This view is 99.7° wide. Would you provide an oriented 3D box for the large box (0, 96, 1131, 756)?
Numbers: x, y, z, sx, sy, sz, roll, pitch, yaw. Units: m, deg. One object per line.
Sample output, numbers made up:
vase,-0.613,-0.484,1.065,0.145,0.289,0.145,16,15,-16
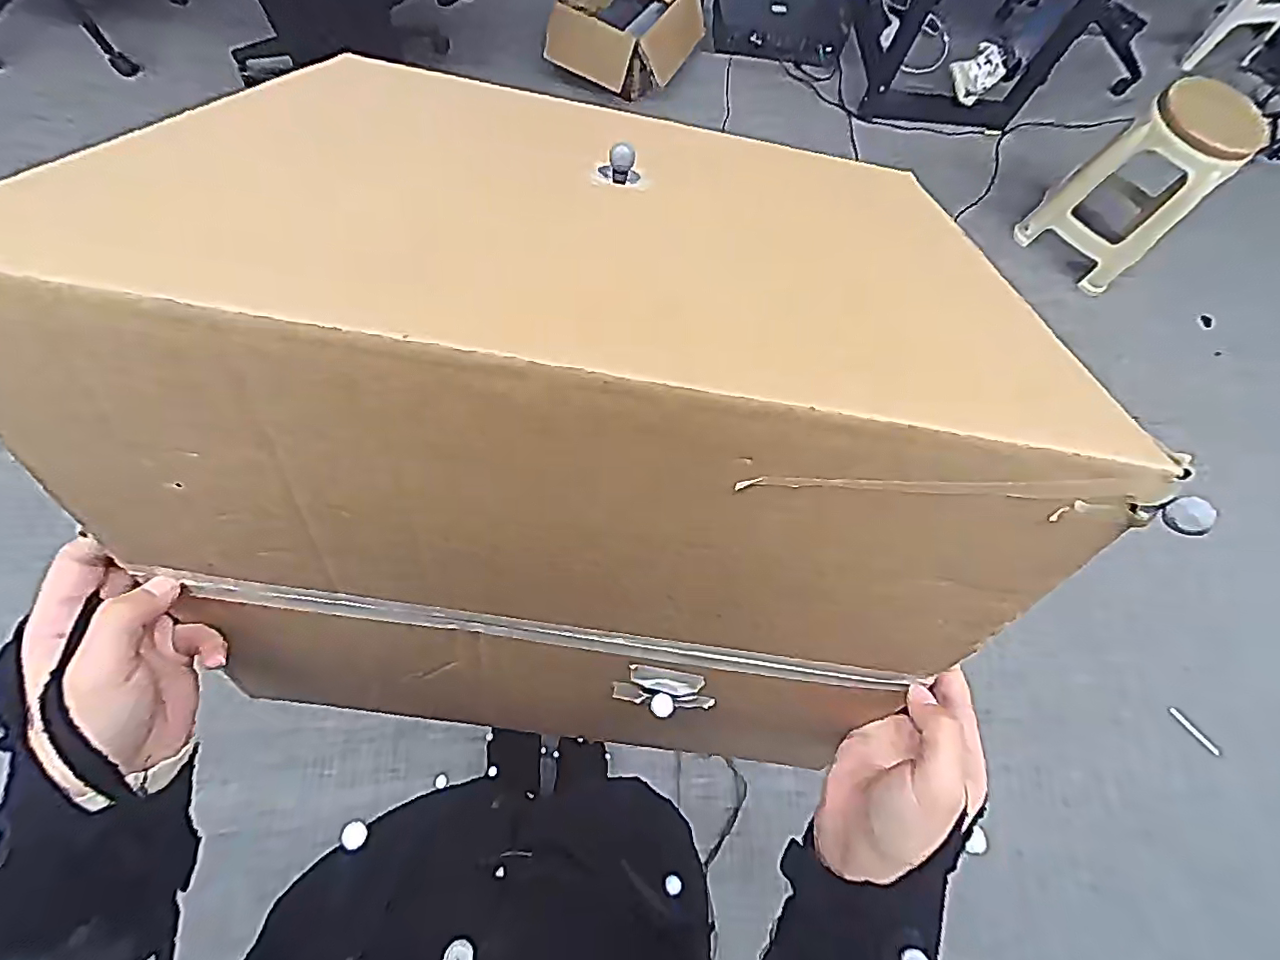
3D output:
large box,-0.037,-0.034,0.386,0.408,0.320,0.320,8,47,-4
